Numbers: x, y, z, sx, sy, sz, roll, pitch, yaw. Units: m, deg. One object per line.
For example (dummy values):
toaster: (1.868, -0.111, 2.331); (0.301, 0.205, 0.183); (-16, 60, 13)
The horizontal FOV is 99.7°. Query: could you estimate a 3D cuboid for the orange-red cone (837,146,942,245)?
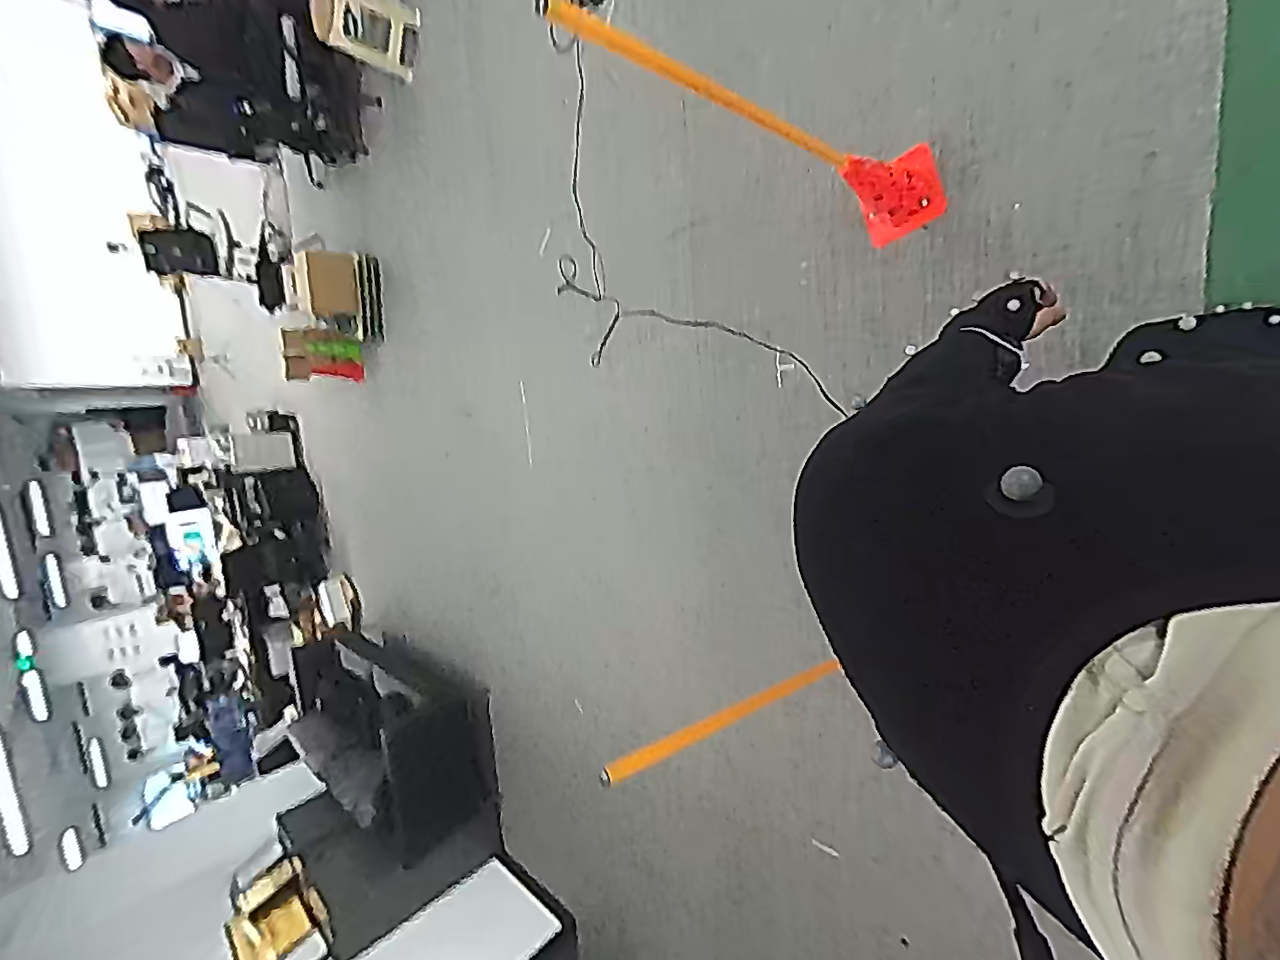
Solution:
orange-red cone: (0.589, -0.754, 1.362); (0.198, 0.360, 0.199); (-17, 85, 45)
